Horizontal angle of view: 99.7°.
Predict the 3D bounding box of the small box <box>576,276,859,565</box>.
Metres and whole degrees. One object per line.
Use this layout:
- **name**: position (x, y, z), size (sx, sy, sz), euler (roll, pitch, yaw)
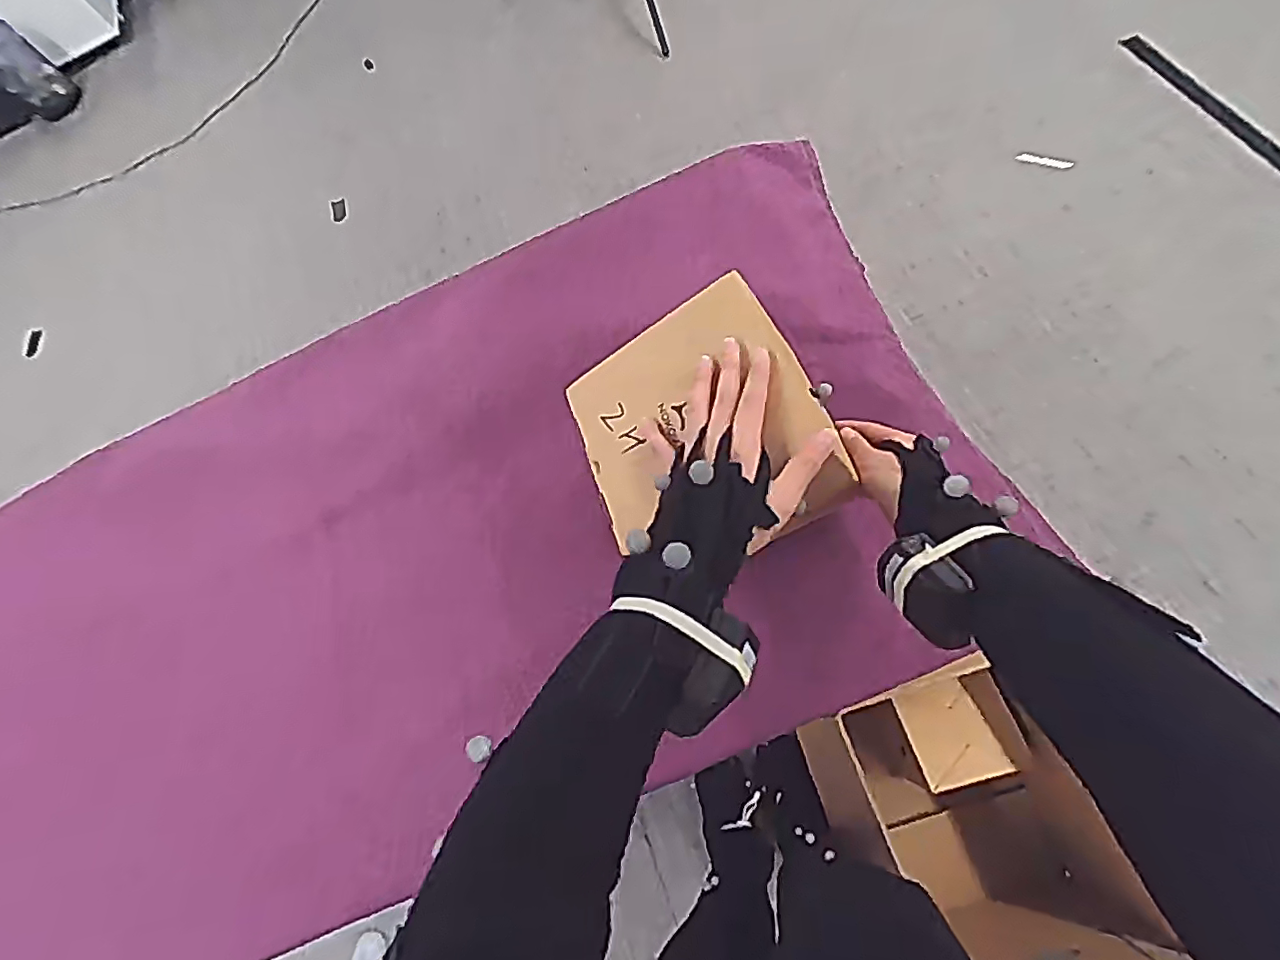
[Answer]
- **small box**: position (0.077, -0.034, 0.483), size (0.179, 0.176, 0.168), euler (-30, 65, 21)
